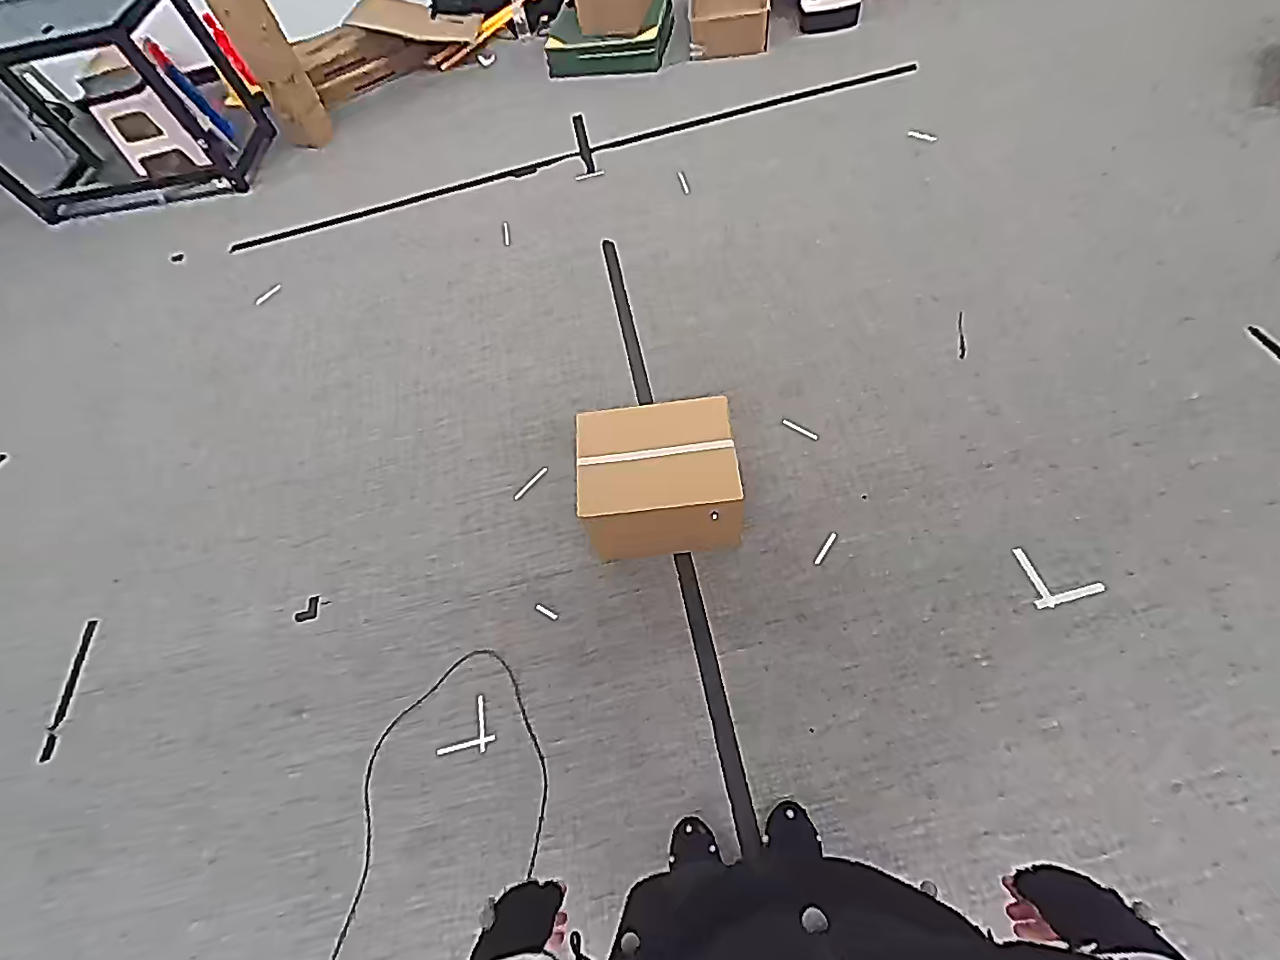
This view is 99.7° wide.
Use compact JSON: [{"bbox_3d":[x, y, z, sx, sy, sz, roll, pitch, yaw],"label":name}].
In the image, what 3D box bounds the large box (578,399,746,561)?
[{"bbox_3d":[0.062,0.014,1.492,0.408,0.320,0.320,-7,60,4],"label":"large box"}]
